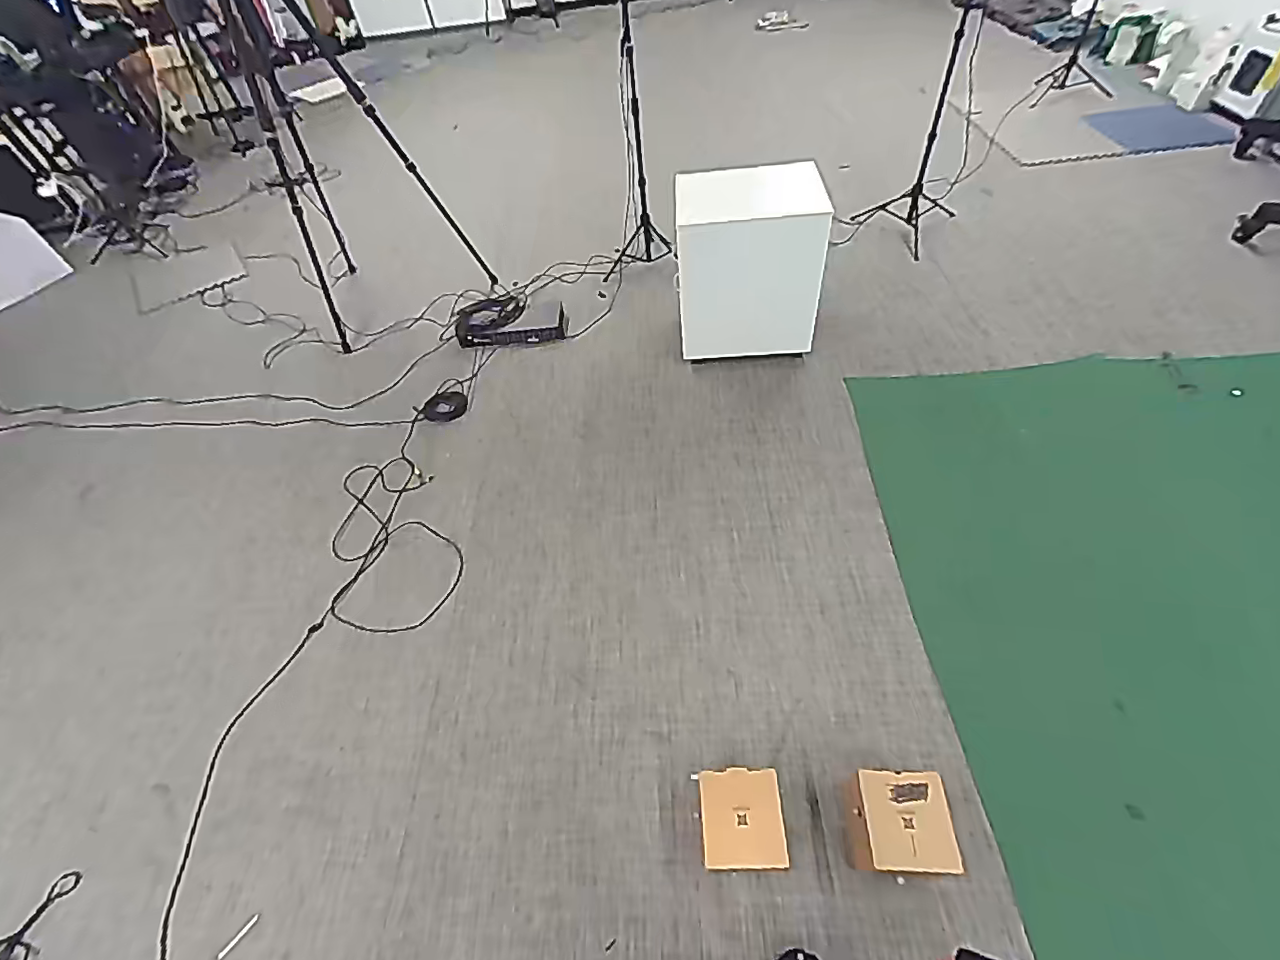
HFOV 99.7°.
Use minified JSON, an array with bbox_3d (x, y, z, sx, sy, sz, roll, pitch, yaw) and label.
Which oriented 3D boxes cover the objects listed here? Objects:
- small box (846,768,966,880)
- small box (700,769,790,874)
[{"bbox_3d":[0.544,0.723,1.135,0.168,0.176,0.179,-1,52,7],"label":"small box"},{"bbox_3d":[0.219,0.739,1.165,0.168,0.176,0.179,-4,50,4],"label":"small box"}]
